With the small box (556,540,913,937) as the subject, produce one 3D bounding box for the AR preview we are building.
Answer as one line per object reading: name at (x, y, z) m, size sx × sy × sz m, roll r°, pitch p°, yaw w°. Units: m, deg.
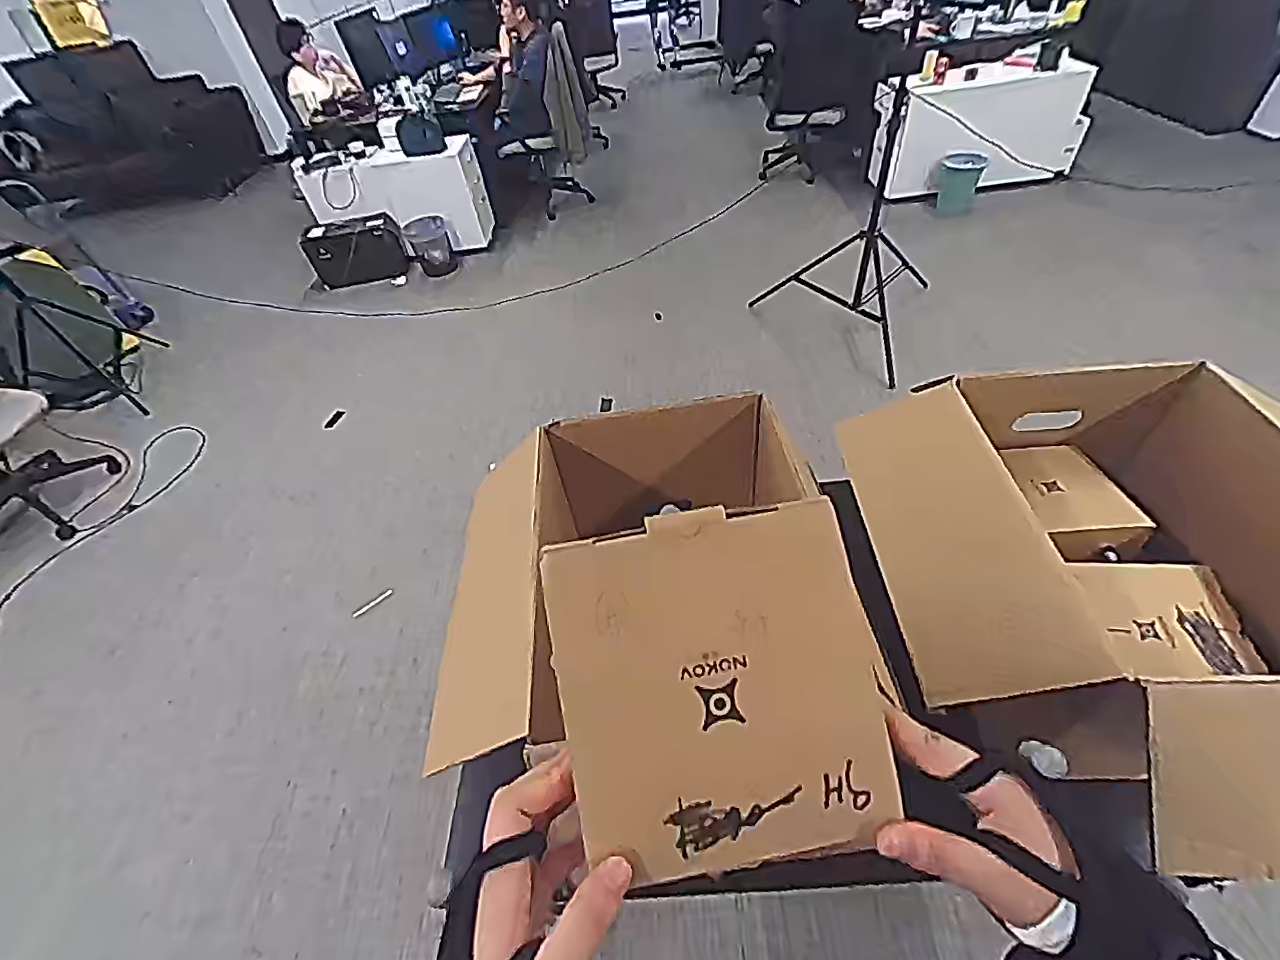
small box at (0.044, 0.143, 0.364) m, size 0.168 × 0.176 × 0.179 m, roll -10°, pitch 82°, yaw -3°
